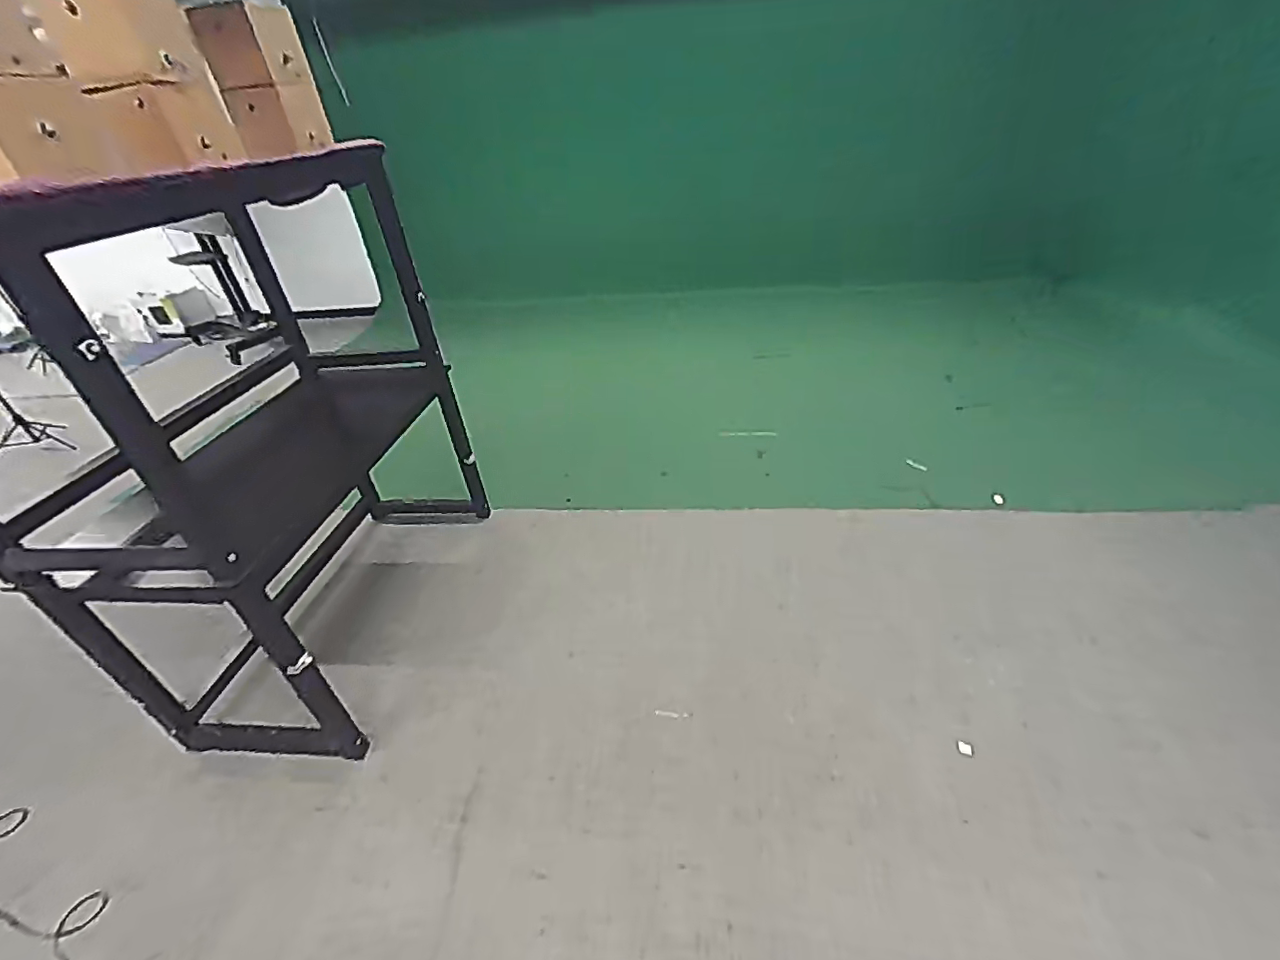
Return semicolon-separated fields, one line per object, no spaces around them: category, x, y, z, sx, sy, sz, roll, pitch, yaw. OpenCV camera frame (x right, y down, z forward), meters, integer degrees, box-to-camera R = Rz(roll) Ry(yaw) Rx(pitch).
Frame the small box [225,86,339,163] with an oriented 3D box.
small box;-1.002;-1.004;1.531;0.179;0.176;0.168;3;36;11

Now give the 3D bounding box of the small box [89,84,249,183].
small box;-1.049;-0.779;1.221;0.179;0.176;0.168;1;35;11

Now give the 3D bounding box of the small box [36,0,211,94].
small box;-1.062;-0.908;1.123;0.179;0.176;0.168;-1;36;6

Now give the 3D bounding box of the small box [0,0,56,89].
small box;-1.101;-0.711;0.839;0.179;0.176;0.168;-1;35;8

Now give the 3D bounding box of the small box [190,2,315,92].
small box;-1.018;-1.139;1.436;0.179;0.176;0.168;2;37;11
